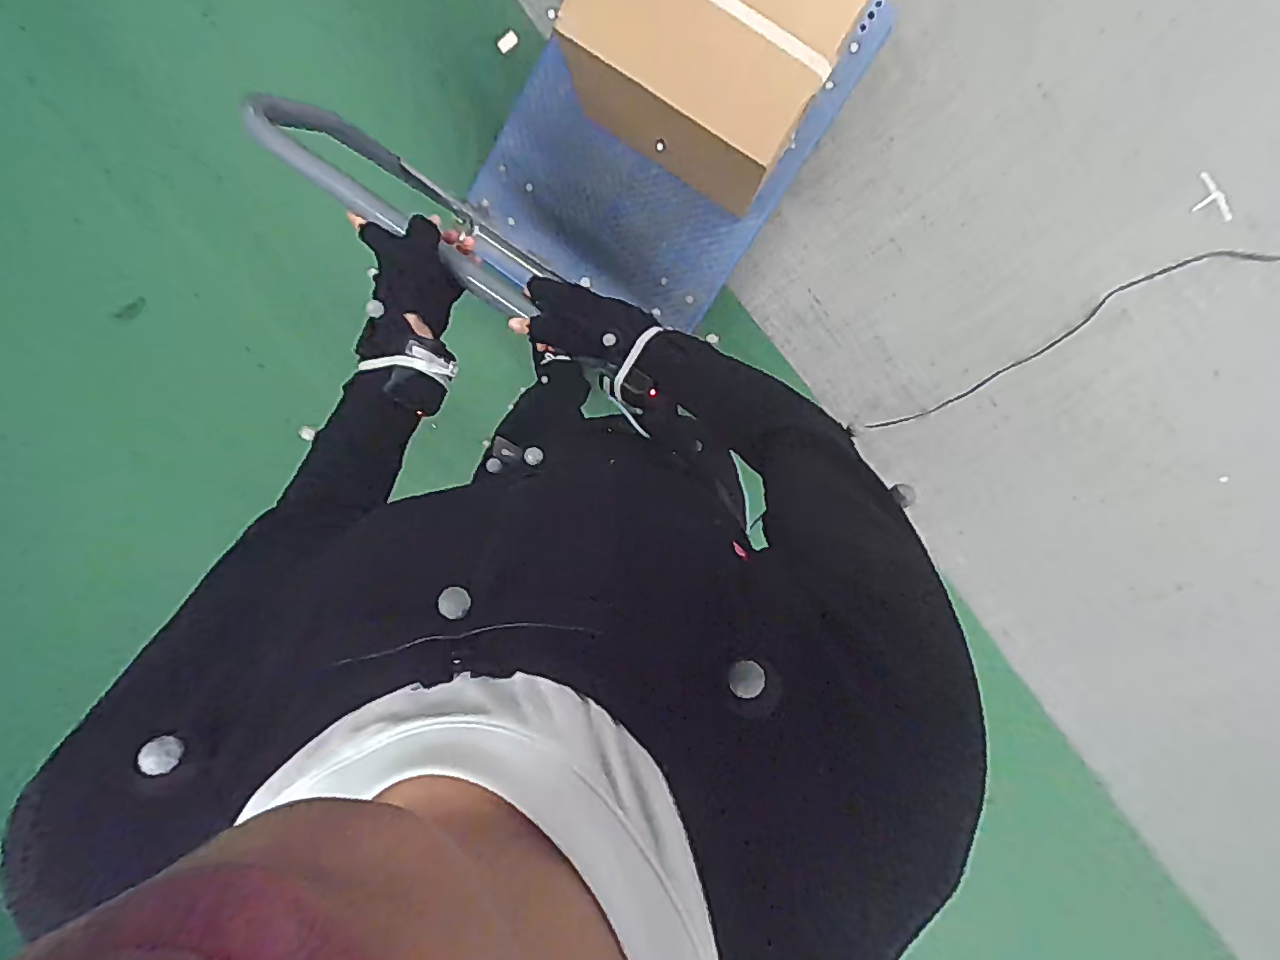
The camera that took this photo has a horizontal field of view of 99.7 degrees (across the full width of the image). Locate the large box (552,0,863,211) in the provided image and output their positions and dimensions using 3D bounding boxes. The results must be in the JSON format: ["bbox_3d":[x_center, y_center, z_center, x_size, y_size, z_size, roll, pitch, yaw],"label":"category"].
[{"bbox_3d":[0.120,-0.762,0.968,0.408,0.320,0.320,32,102,-2],"label":"large box"}]
